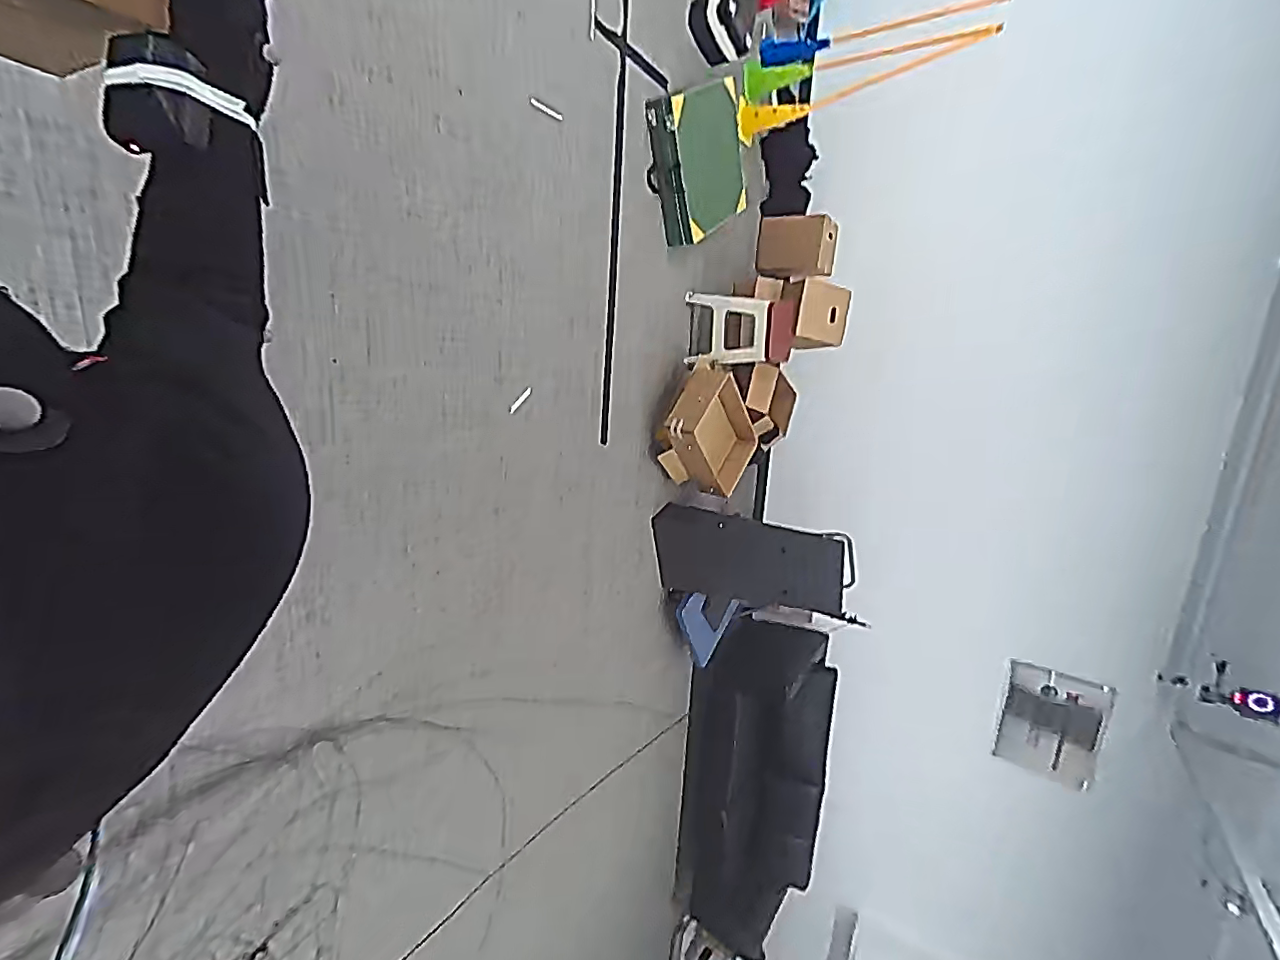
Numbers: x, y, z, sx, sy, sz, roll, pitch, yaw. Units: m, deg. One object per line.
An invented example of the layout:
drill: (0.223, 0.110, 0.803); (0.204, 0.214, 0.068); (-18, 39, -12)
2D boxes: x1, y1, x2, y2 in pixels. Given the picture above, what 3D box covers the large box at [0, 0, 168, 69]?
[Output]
large box: (-0.548, -0.496, 0.272); (0.408, 0.320, 0.320); (-8, 114, -57)
